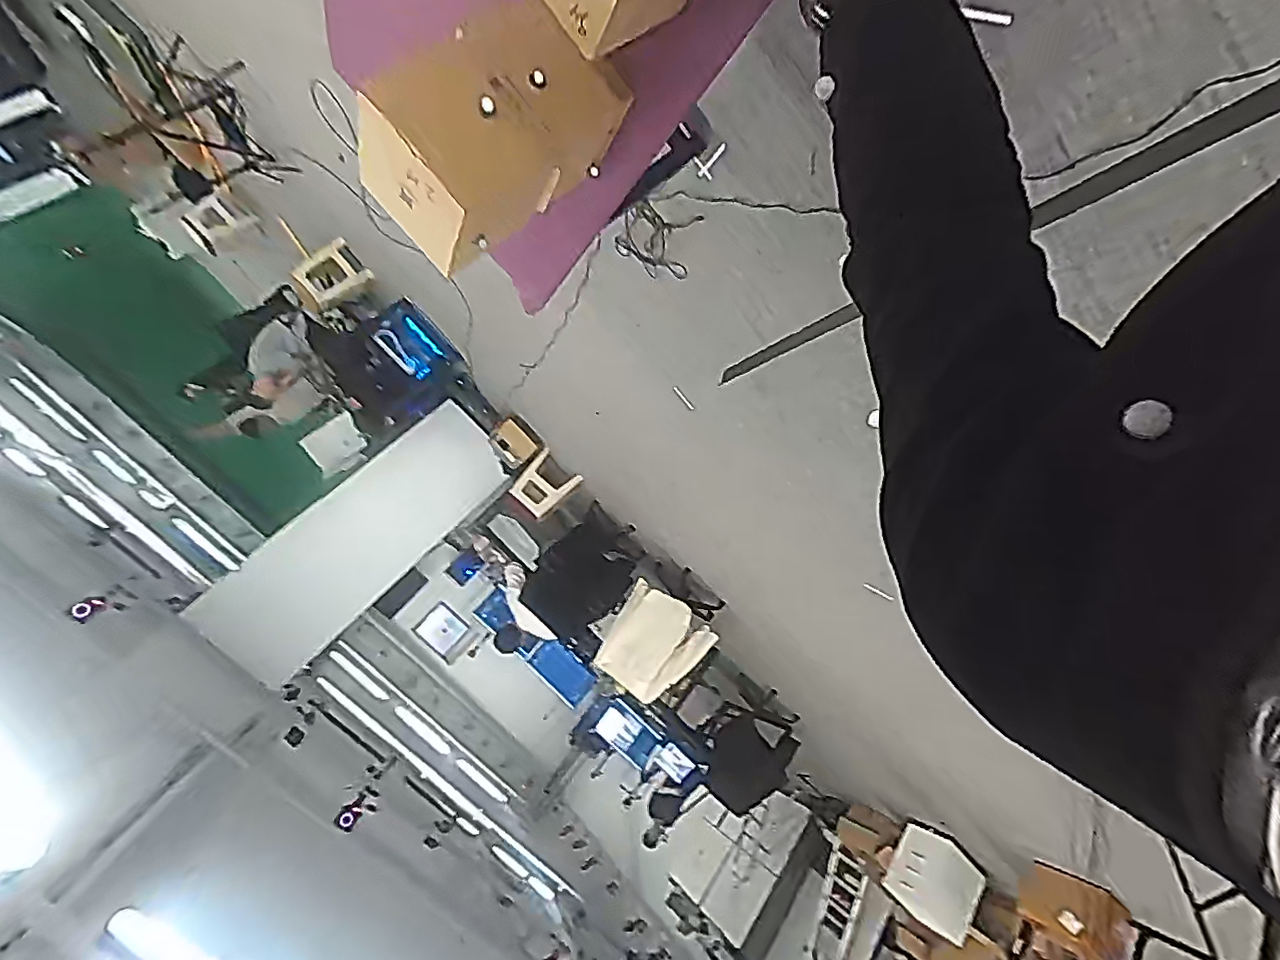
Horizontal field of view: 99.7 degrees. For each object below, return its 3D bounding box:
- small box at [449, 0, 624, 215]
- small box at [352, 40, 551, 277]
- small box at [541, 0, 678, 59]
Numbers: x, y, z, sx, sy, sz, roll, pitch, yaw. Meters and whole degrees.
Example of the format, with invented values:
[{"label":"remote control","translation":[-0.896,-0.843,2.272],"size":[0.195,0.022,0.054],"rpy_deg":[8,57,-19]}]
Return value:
[{"label":"small box","translation":[-0.152,-0.531,0.771],"size":[0.179,0.176,0.168],"rpy_deg":[47,156,-11]},{"label":"small box","translation":[-0.242,-0.409,0.705],"size":[0.168,0.176,0.179],"rpy_deg":[47,156,-13]},{"label":"small box","translation":[-0.021,-0.565,0.507],"size":[0.168,0.176,0.179],"rpy_deg":[48,156,-14]}]
